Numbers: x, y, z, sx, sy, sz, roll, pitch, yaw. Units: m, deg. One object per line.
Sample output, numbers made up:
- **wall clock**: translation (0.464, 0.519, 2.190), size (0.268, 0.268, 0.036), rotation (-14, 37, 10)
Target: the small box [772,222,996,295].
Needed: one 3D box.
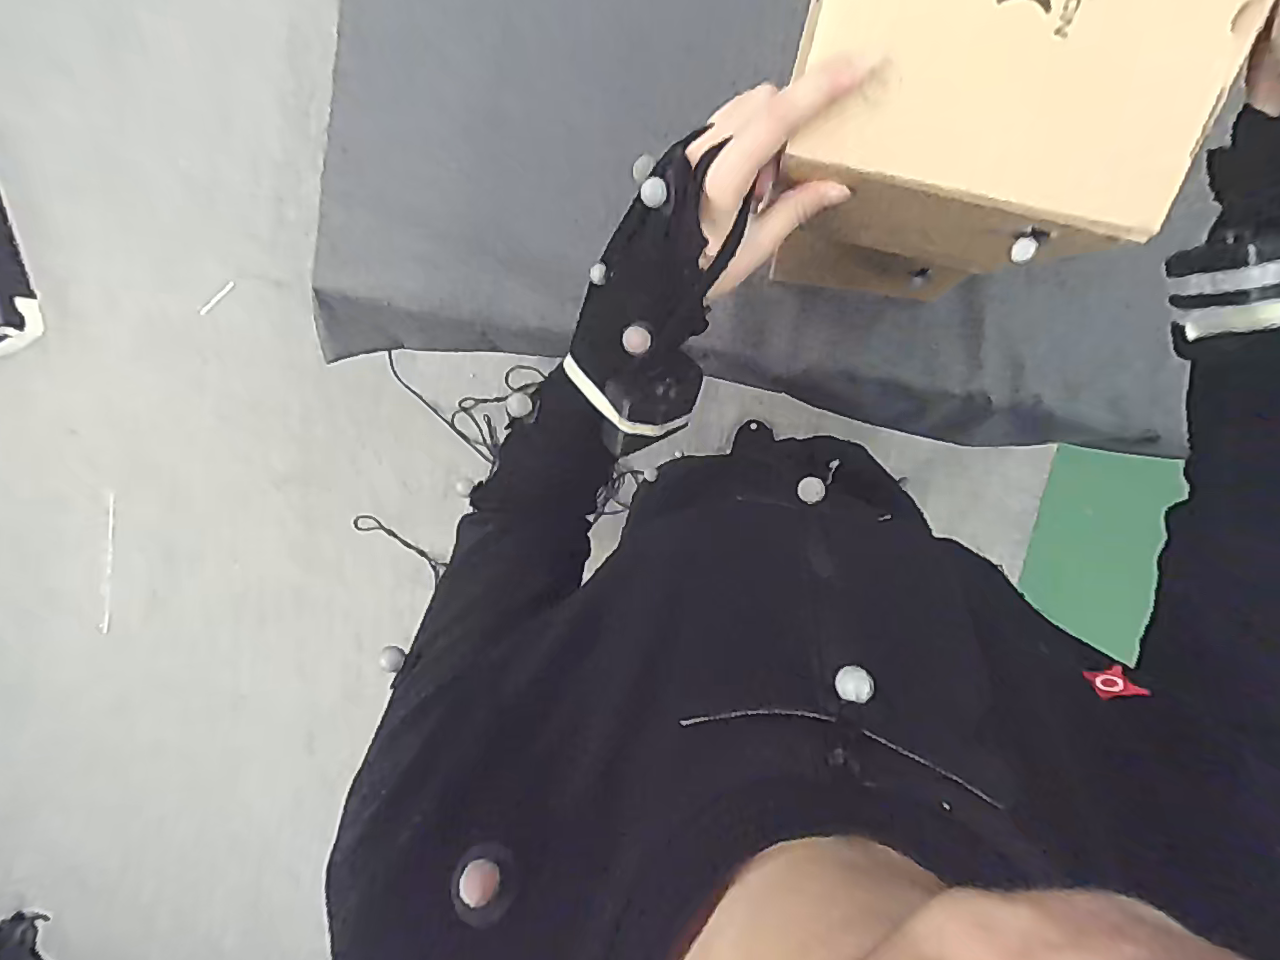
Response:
- **small box**: translation (0.228, -0.280, 0.496), size (0.179, 0.176, 0.168), rotation (11, 95, 10)

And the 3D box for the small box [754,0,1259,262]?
- **small box**: translation (0.173, -0.229, 0.300), size (0.179, 0.176, 0.168), rotation (14, 108, 1)
